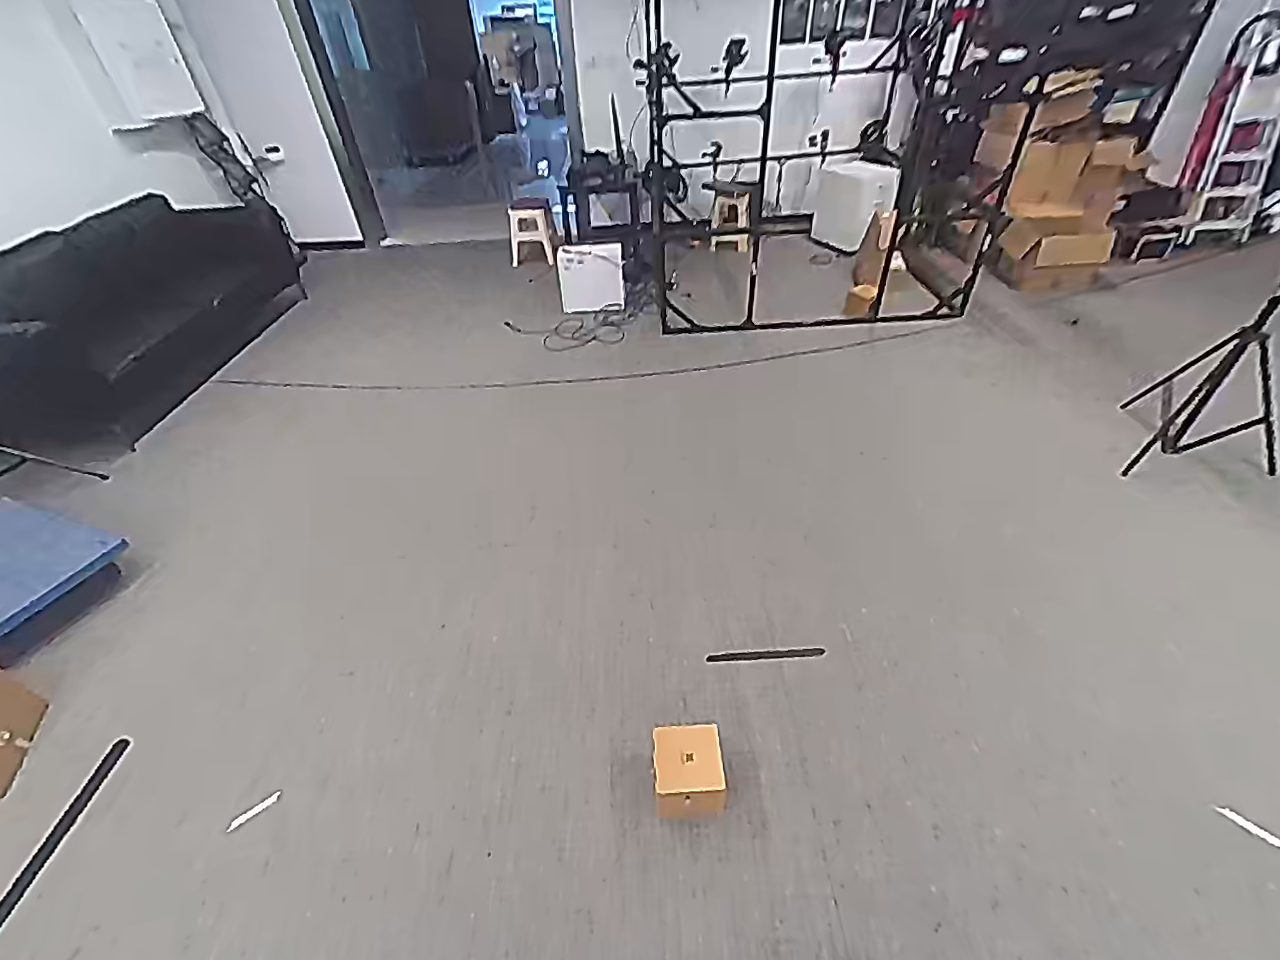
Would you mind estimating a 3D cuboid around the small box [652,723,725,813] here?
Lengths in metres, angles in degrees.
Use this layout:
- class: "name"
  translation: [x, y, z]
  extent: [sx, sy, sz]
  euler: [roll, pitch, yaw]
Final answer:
- class: "small box"
  translation: [0.126, 0.775, 1.454]
  extent: [0.179, 0.176, 0.168]
  euler: [-5, 41, 1]
